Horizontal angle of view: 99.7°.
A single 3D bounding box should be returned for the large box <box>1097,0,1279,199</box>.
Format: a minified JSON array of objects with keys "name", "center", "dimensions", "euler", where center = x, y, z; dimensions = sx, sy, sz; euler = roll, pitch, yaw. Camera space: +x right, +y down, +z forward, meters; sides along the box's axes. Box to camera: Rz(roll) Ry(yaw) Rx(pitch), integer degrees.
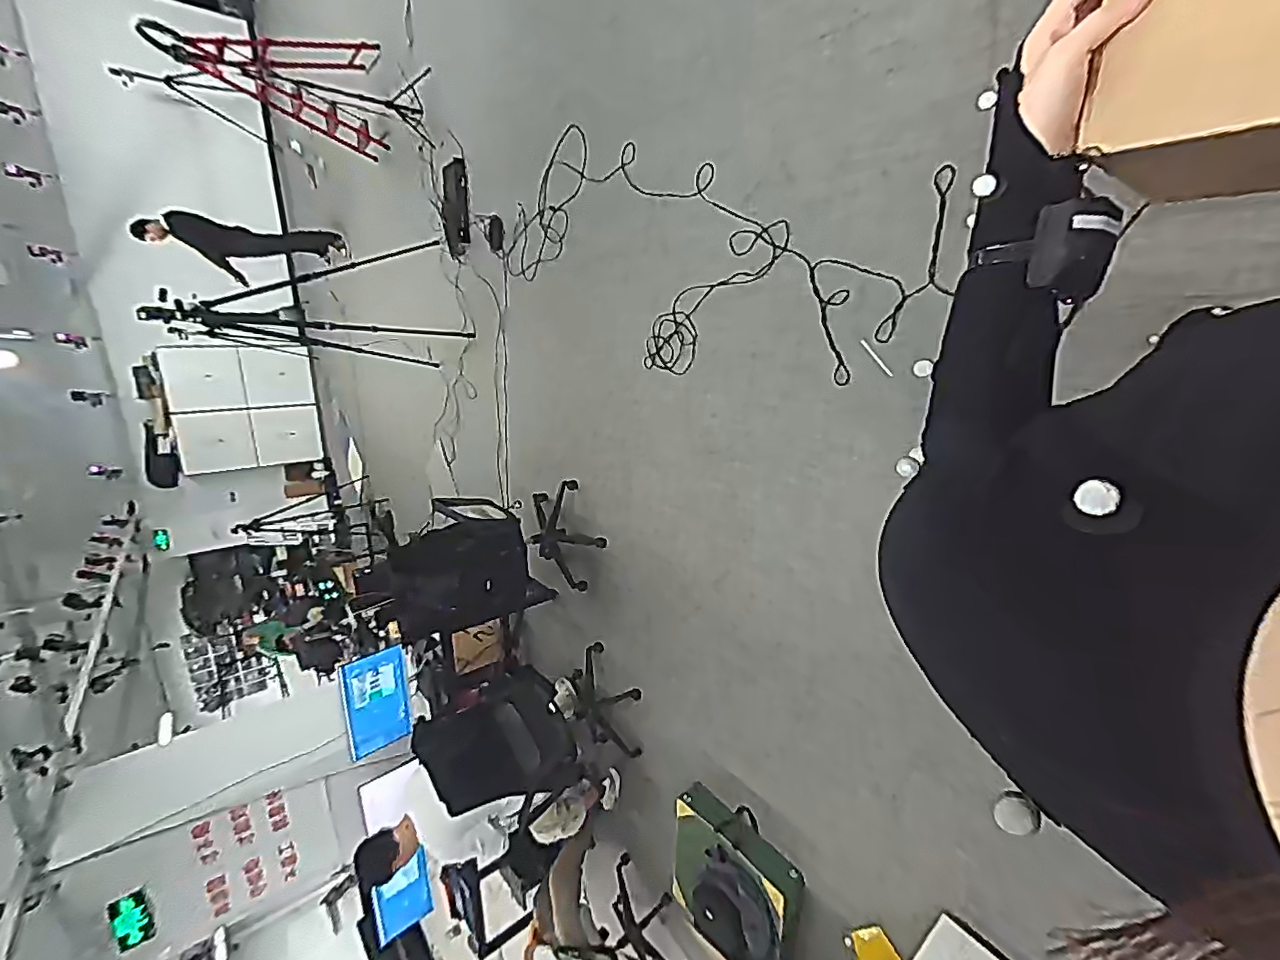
[{"name":"large box","center":[0.564,-0.378,0.301],"dimensions":[0.408,0.320,0.320],"euler":[16,115,46]}]
